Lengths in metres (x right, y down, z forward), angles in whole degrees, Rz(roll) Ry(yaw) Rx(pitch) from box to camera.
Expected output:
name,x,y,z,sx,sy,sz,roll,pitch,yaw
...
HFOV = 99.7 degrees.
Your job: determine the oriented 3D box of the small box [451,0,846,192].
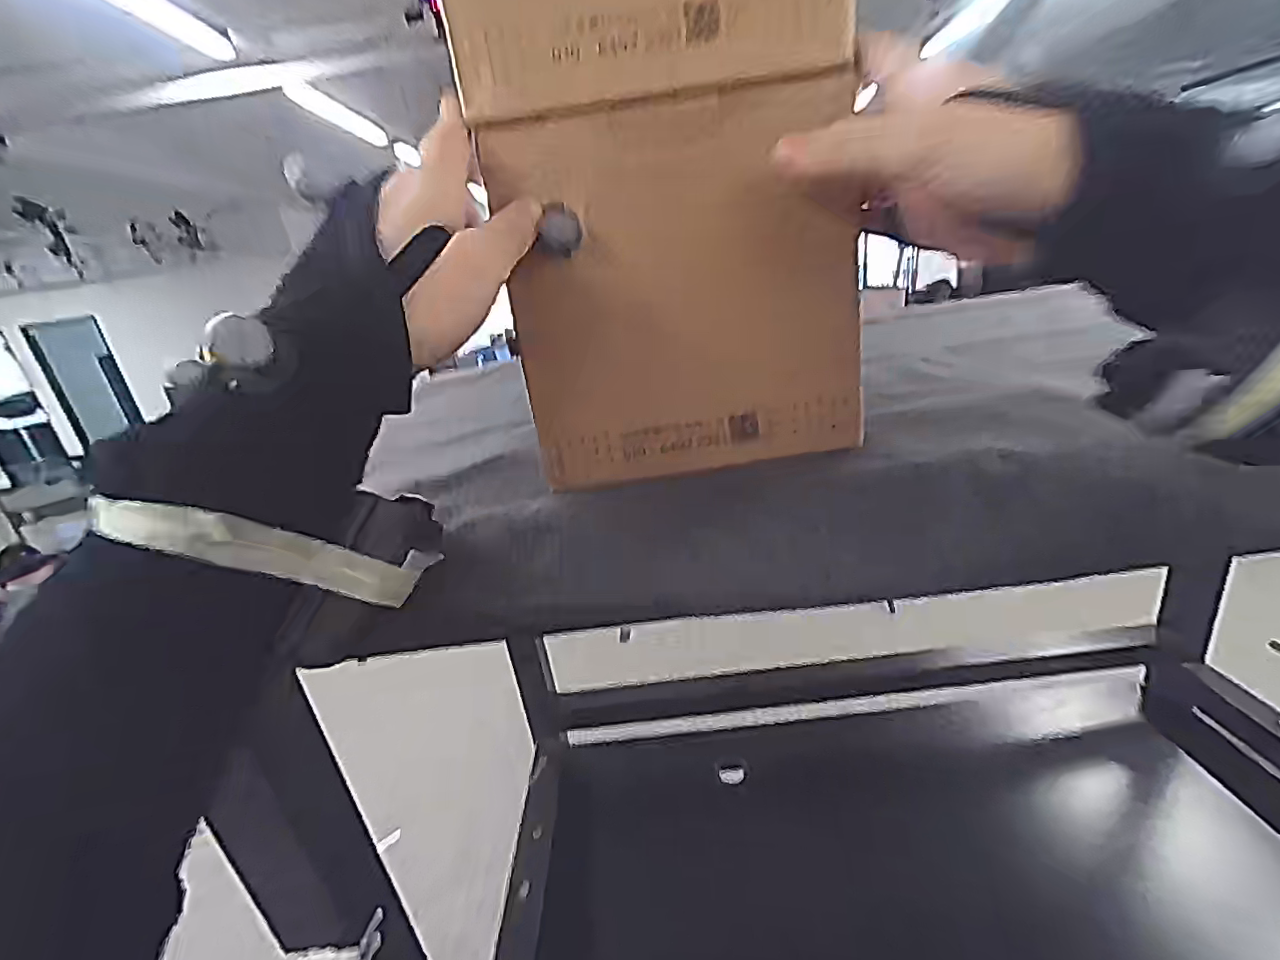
name,x,y,z,sx,sy,sz,roll,pitch,yaw
small box,-0.004,-0.264,0.276,0.168,0.176,0.179,-8,19,2
